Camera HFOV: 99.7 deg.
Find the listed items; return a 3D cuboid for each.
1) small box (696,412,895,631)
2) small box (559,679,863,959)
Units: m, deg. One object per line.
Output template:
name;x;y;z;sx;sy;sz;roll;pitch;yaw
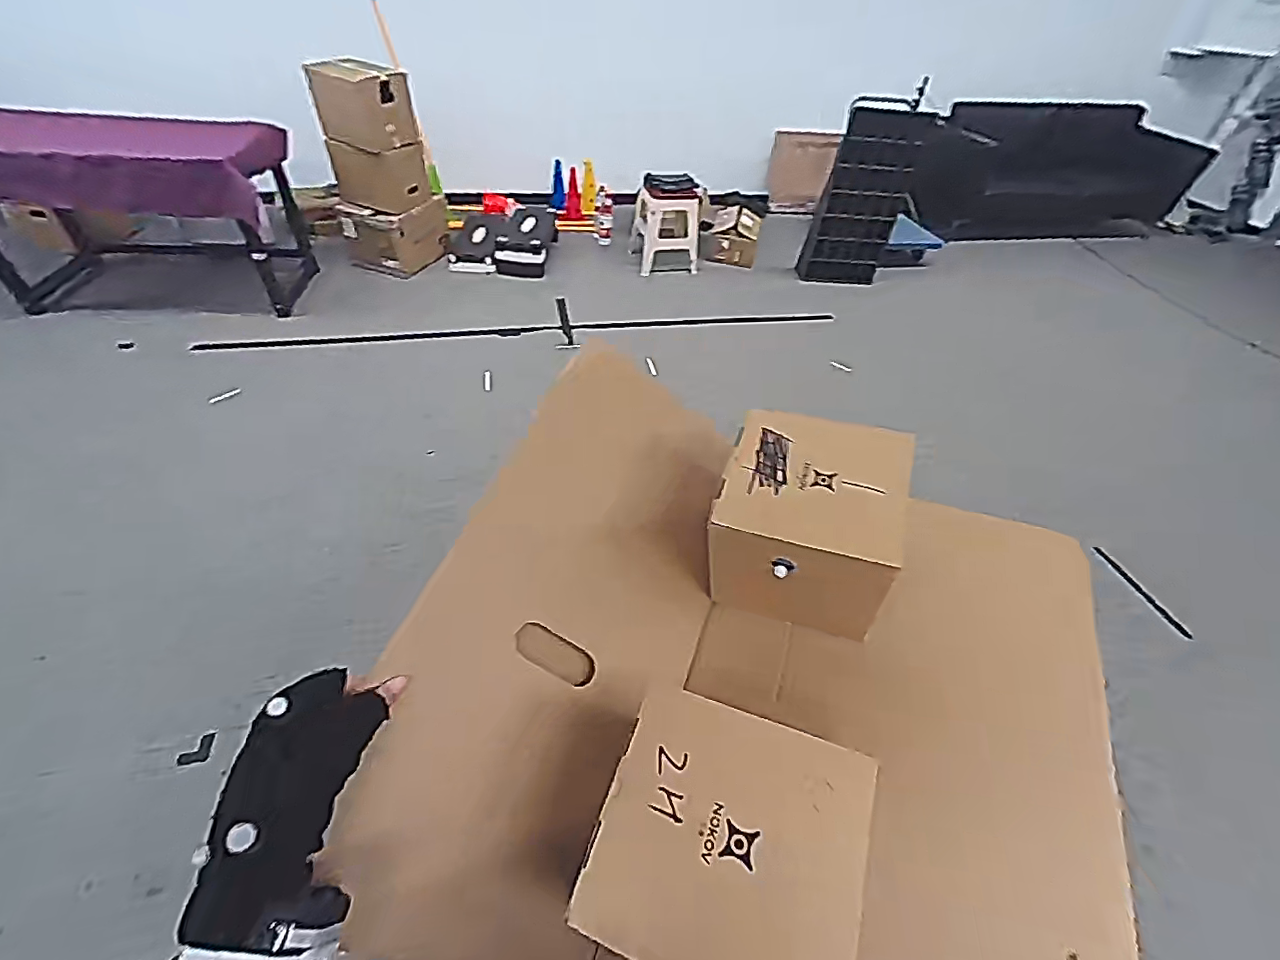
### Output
small box;0.172;0.050;0.614;0.179;0.176;0.168;12;55;17
small box;0.063;0.292;0.439;0.179;0.176;0.168;13;55;19
